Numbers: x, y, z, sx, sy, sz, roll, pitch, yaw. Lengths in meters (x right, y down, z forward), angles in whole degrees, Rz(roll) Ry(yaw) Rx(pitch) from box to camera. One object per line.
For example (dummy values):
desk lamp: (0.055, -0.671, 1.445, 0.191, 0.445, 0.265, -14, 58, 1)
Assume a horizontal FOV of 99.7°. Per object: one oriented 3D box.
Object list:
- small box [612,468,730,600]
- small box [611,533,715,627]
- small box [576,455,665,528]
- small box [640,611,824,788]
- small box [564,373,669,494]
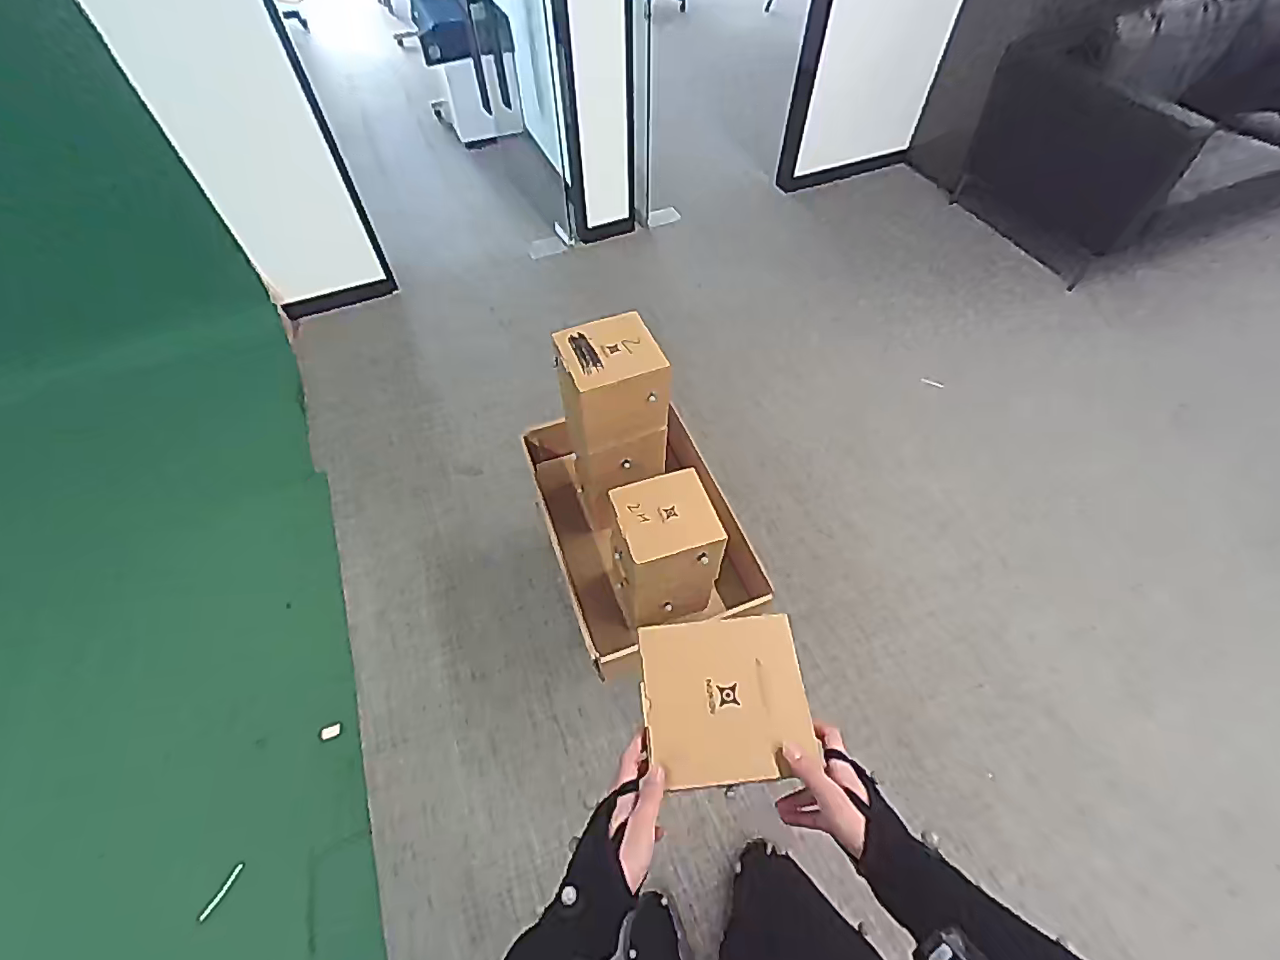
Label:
small box: (0.051, 0.106, 1.035, 0.179, 0.176, 0.168, -15, 56, -10)
small box: (0.047, 0.198, 1.173, 0.179, 0.176, 0.168, -16, 57, -10)
small box: (-0.052, -0.010, 1.317, 0.179, 0.176, 0.168, -18, 58, -11)
small box: (0.094, 0.267, 0.645, 0.179, 0.176, 0.168, -4, 60, -2)
small box: (-0.051, -0.098, 1.178, 0.179, 0.176, 0.168, -19, 58, -11)
